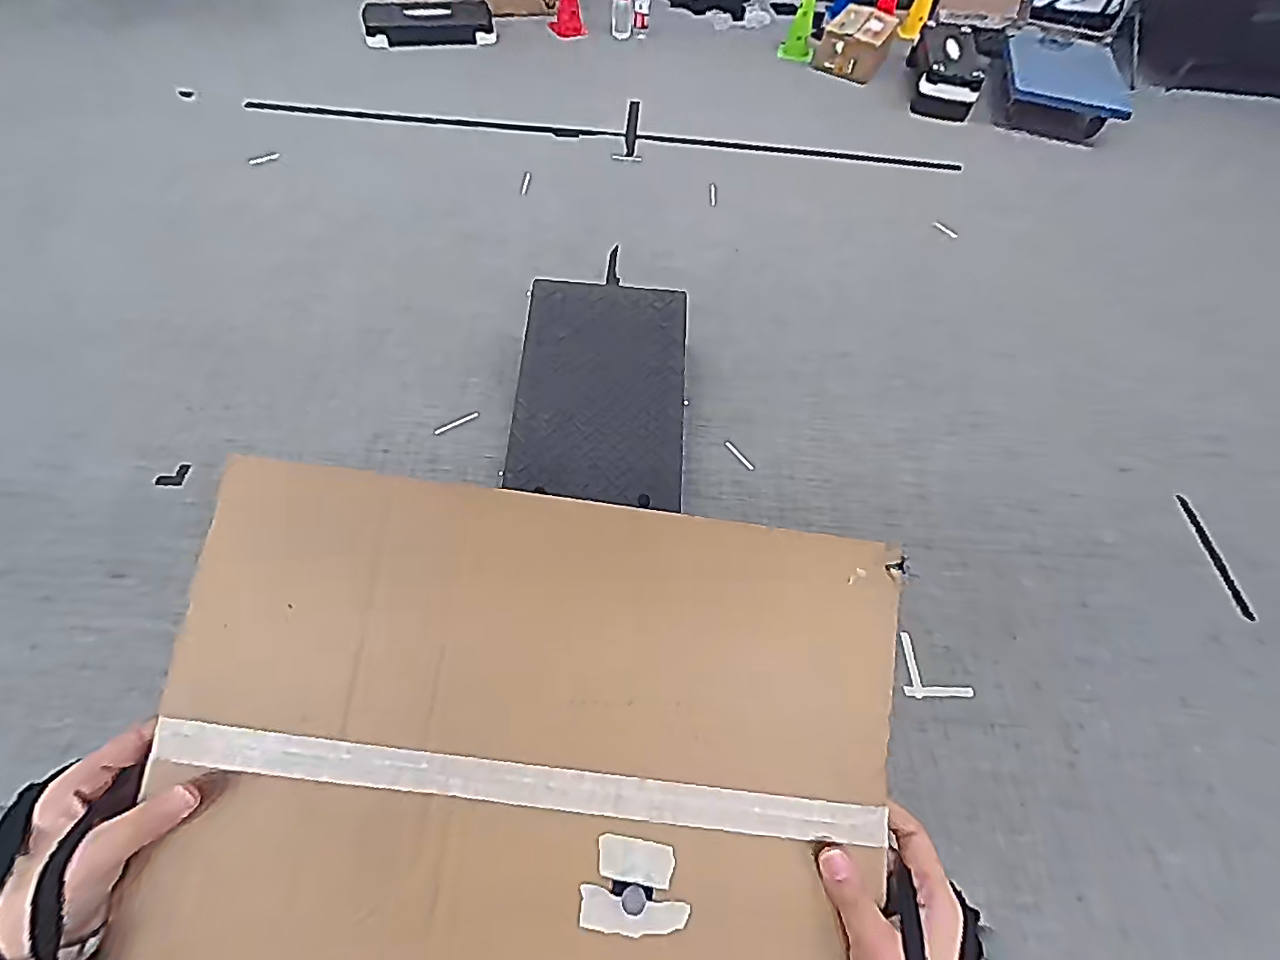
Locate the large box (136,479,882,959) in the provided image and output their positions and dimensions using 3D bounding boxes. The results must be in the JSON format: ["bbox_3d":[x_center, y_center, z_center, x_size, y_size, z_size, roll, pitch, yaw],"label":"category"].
[{"bbox_3d":[-0.069,0.195,0.460,0.408,0.320,0.320,8,82,-2],"label":"large box"}]
